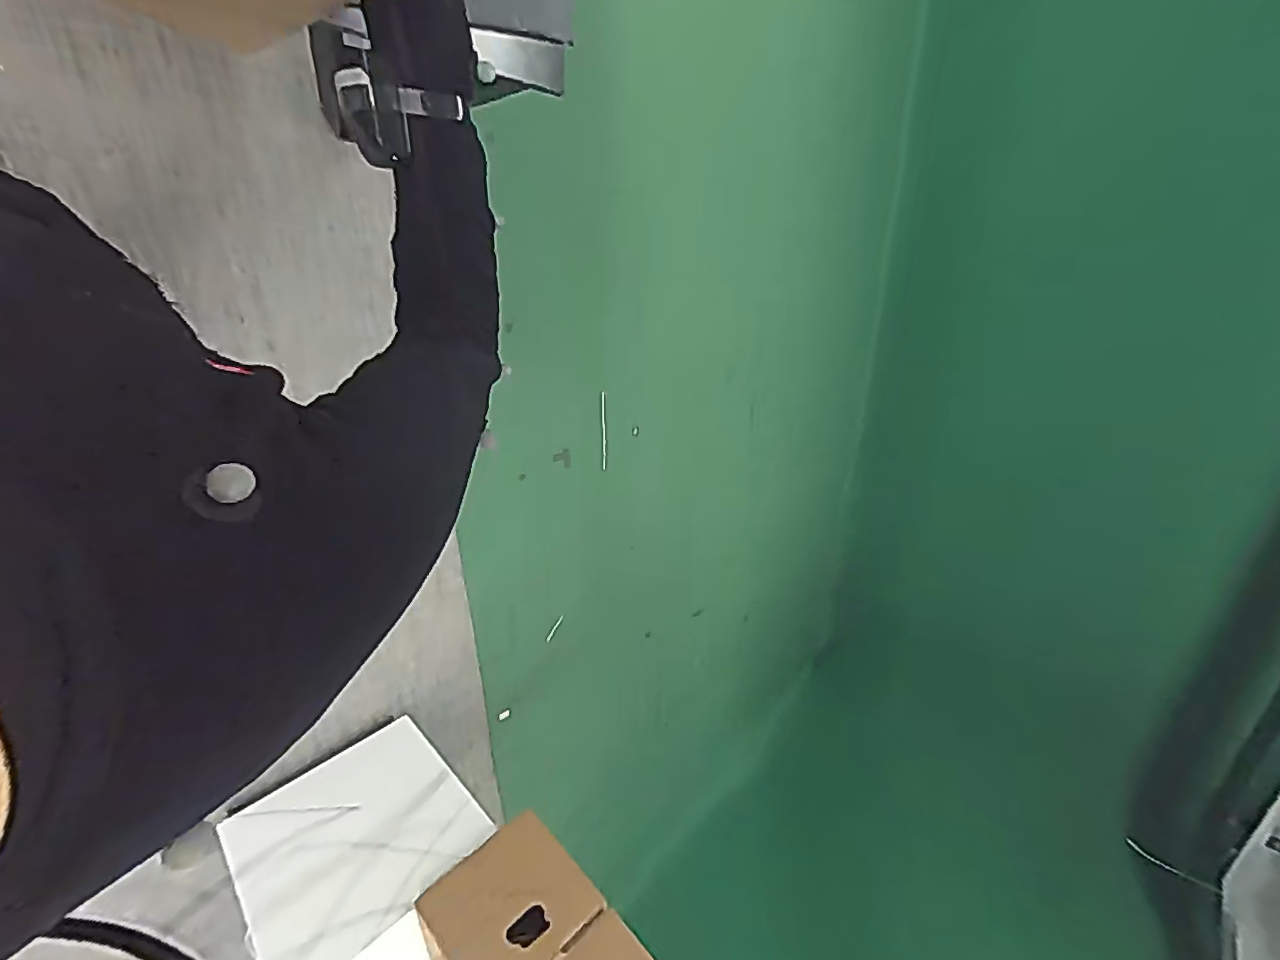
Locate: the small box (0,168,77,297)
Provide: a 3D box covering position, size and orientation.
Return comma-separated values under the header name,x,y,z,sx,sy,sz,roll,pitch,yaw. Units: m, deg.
name,x,y,z,sx,sy,sz,roll,pitch,yaw
small box,-1.053,-0.417,0.880,0.168,0.176,0.179,-7,116,-56
